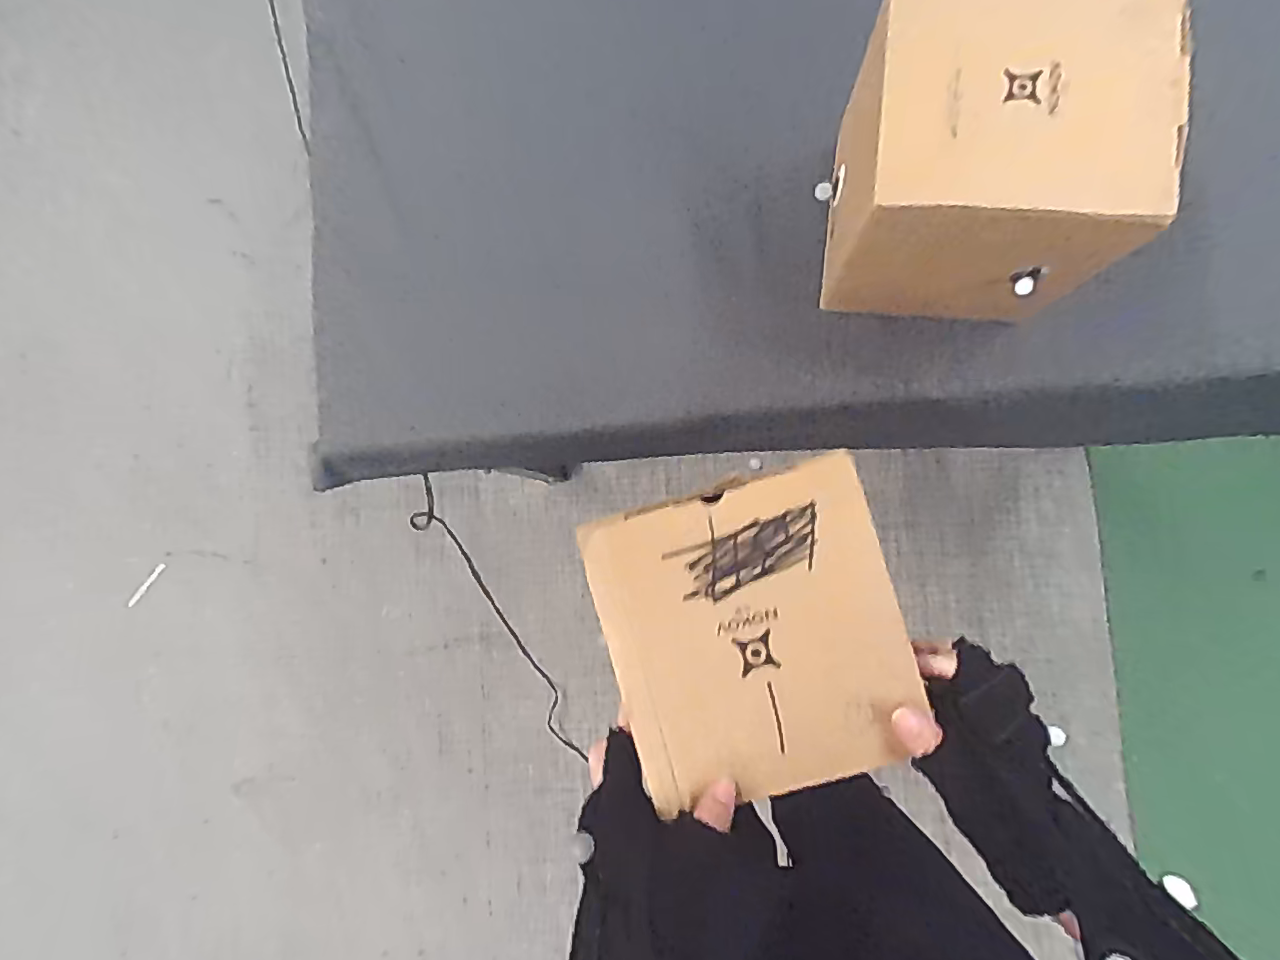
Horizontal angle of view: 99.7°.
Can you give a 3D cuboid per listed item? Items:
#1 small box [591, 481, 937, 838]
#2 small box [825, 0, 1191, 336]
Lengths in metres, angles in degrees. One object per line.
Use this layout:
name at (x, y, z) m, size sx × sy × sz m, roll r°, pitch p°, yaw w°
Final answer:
small box at (0.074, 0.108, 0.394) m, size 0.168 × 0.176 × 0.179 m, roll -16°, pitch 87°, yaw 4°
small box at (0.257, -0.221, 0.420) m, size 0.179 × 0.176 × 0.168 m, roll 6°, pitch 85°, yaw 8°
